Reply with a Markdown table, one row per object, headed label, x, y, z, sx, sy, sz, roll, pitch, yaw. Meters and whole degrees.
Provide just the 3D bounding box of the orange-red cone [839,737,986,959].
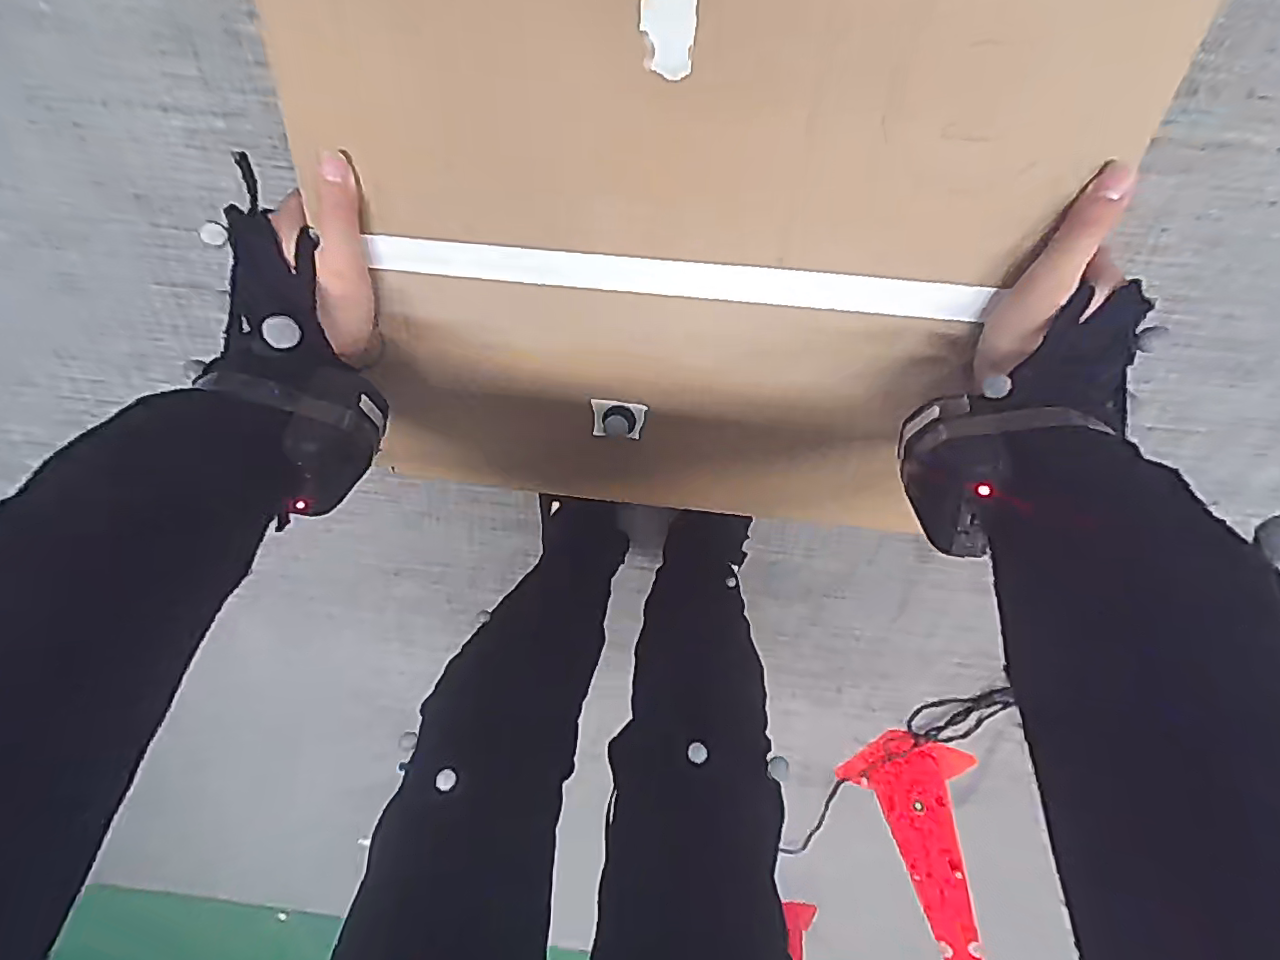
| label | x | y | z | sx | sy | sz | roll | pitch | yaw |
| --- | --- | --- | --- | --- | --- | --- | --- | --- | --- |
| orange-red cone | 0.500 | 0.660 | 0.904 | 0.199 | 0.360 | 0.198 | 22 | 124 | -10 |
